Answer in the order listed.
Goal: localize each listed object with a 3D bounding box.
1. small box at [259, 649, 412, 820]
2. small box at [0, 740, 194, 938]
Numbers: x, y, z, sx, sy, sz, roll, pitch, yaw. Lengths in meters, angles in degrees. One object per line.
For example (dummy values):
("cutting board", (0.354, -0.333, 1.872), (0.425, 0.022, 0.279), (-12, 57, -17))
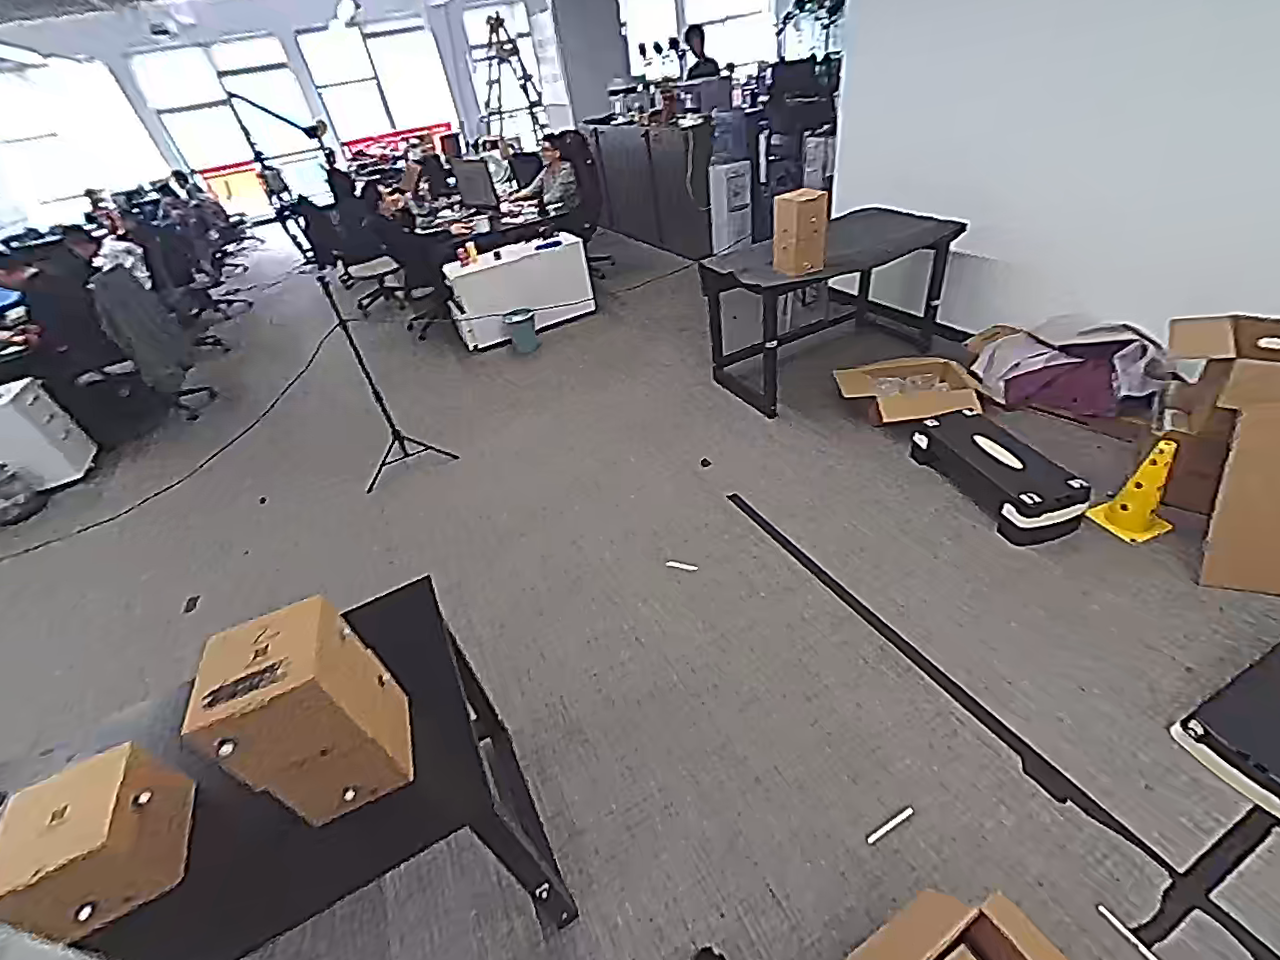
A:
("small box", (-0.507, 0.433, 0.926), (0.168, 0.176, 0.179), (-21, 39, -12))
("small box", (-0.848, 0.559, 0.848), (0.168, 0.176, 0.179), (-24, 40, -17))
